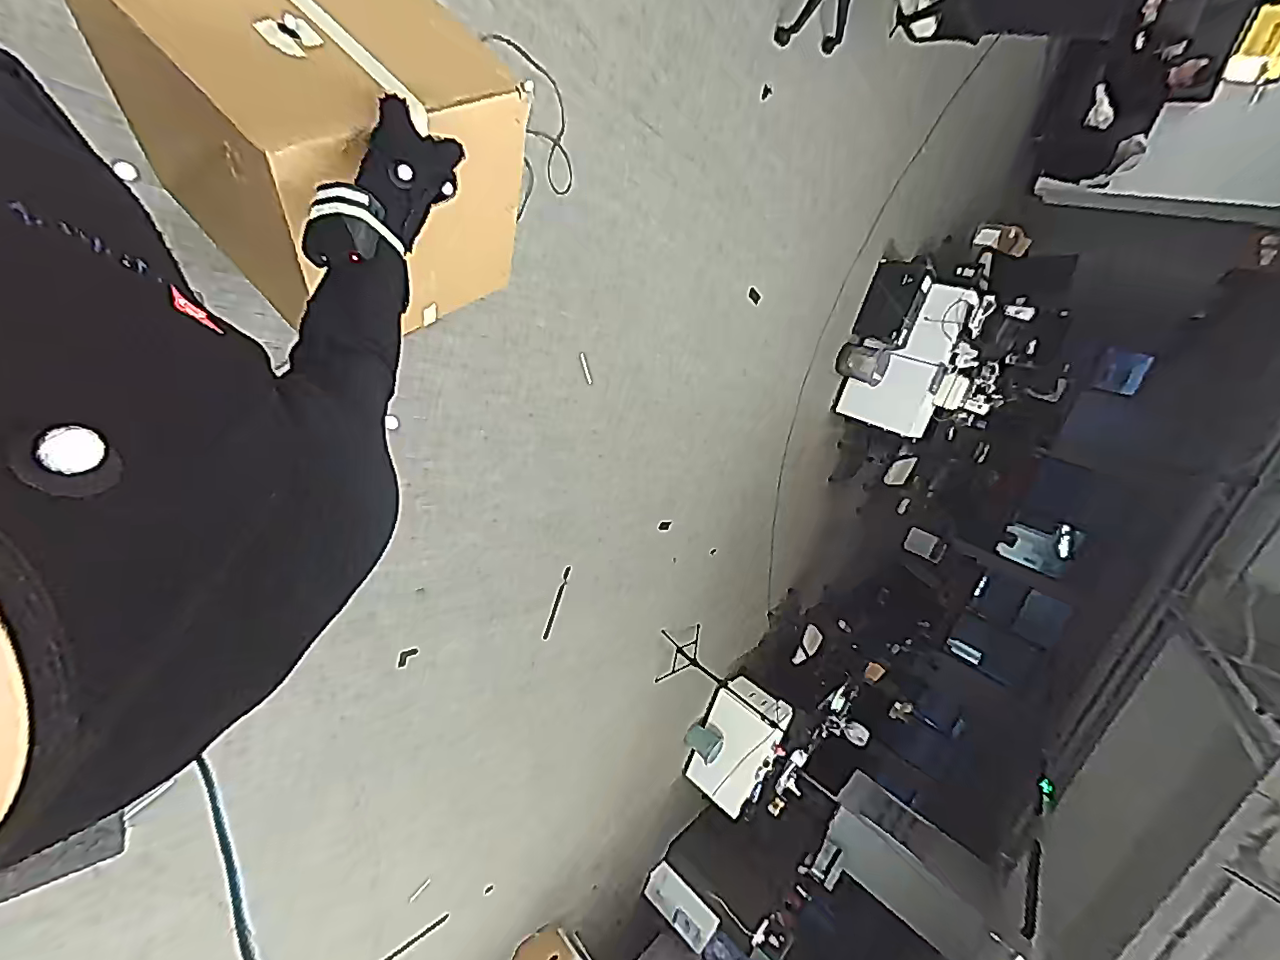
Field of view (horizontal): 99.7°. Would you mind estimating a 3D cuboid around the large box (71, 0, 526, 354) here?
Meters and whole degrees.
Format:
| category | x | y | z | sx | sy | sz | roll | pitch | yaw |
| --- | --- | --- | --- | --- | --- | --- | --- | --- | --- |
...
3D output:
| category | x | y | z | sx | sy | sz | roll | pitch | yaw |
| --- | --- | --- | --- | --- | --- | --- | --- | --- | --- |
| large box | -0.419 | -0.453 | 0.712 | 0.320 | 0.408 | 0.320 | -41 | 174 | -30 |
